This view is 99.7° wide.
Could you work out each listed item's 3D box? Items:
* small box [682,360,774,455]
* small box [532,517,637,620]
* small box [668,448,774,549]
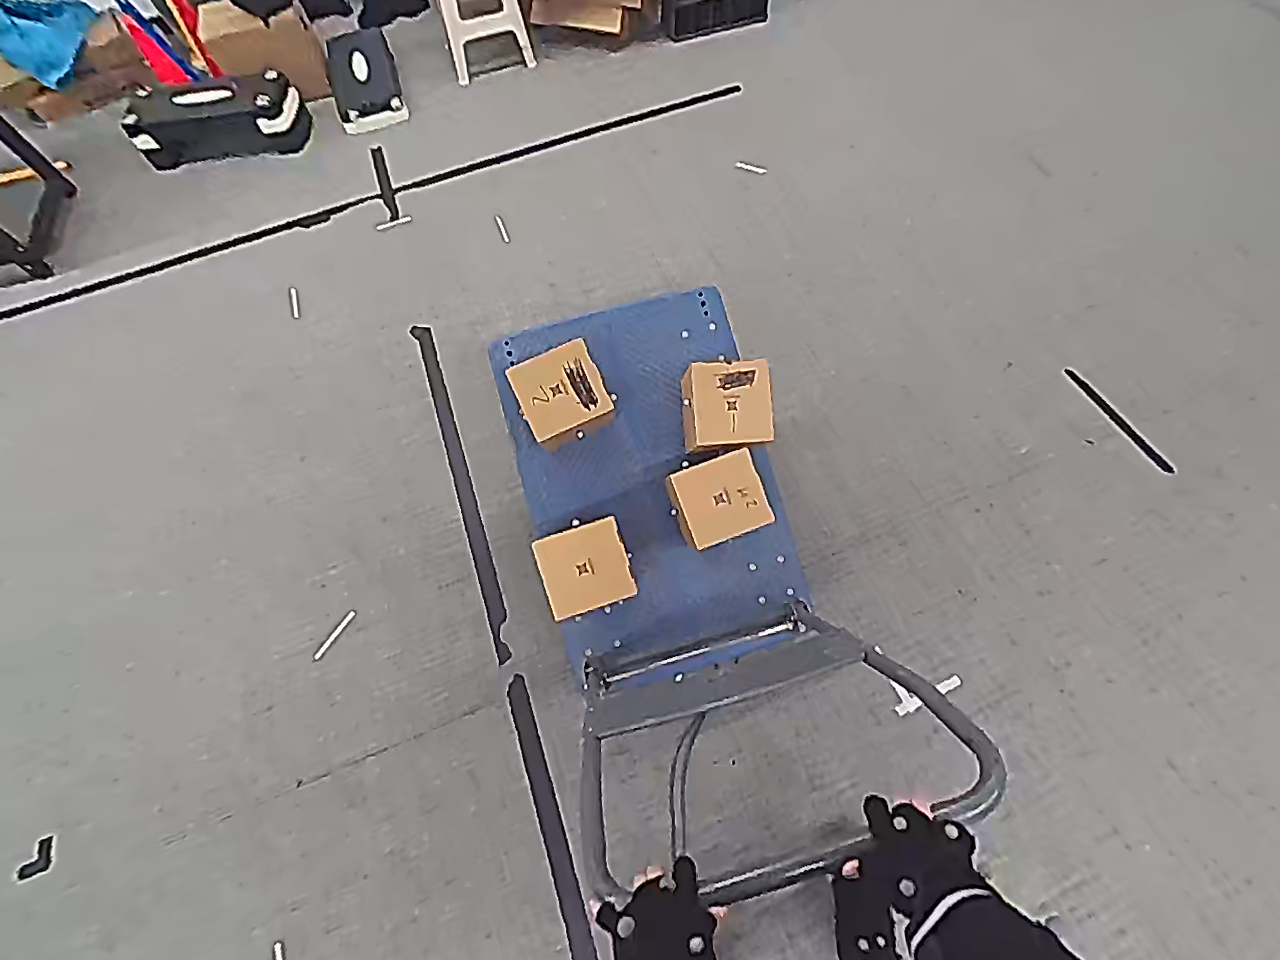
[{"bbox_3d":[0.187,-0.156,1.198,0.168,0.176,0.179,-4,87,-2],"label":"small box"},{"bbox_3d":[-0.114,0.185,1.164,0.179,0.176,0.168,-18,87,-5],"label":"small box"},{"bbox_3d":[0.166,0.044,1.184,0.179,0.176,0.168,-20,88,-3],"label":"small box"}]
